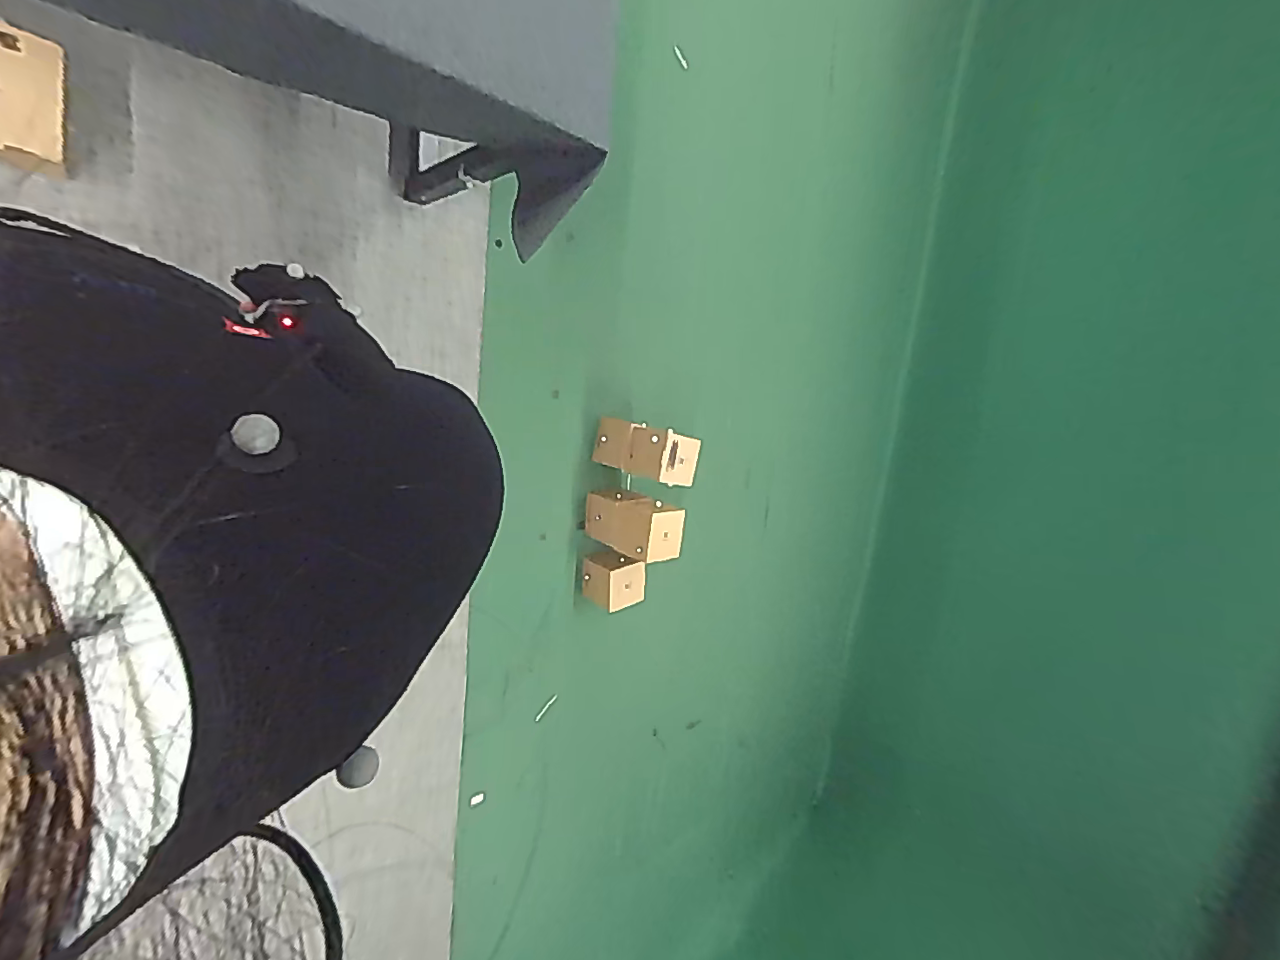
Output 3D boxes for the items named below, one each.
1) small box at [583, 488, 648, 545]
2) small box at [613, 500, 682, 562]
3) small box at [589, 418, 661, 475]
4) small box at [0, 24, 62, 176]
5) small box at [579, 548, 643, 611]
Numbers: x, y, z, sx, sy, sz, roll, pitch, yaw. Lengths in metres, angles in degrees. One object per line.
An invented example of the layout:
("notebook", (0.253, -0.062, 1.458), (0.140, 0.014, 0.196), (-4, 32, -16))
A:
("small box", (-0.093, 0.131, 2.000), (0.179, 0.176, 0.168), (-8, 107, -44))
("small box", (0.023, 0.170, 1.893), (0.168, 0.176, 0.179), (-4, 105, -45))
("small box", (-0.055, -0.123, 1.966), (0.179, 0.176, 0.168), (11, 93, -45))
("small box", (-1.028, -0.604, 0.842), (0.168, 0.176, 0.179), (1, 101, -45))
("small box", (-0.110, 0.372, 2.055), (0.179, 0.176, 0.168), (-11, 109, -43))
